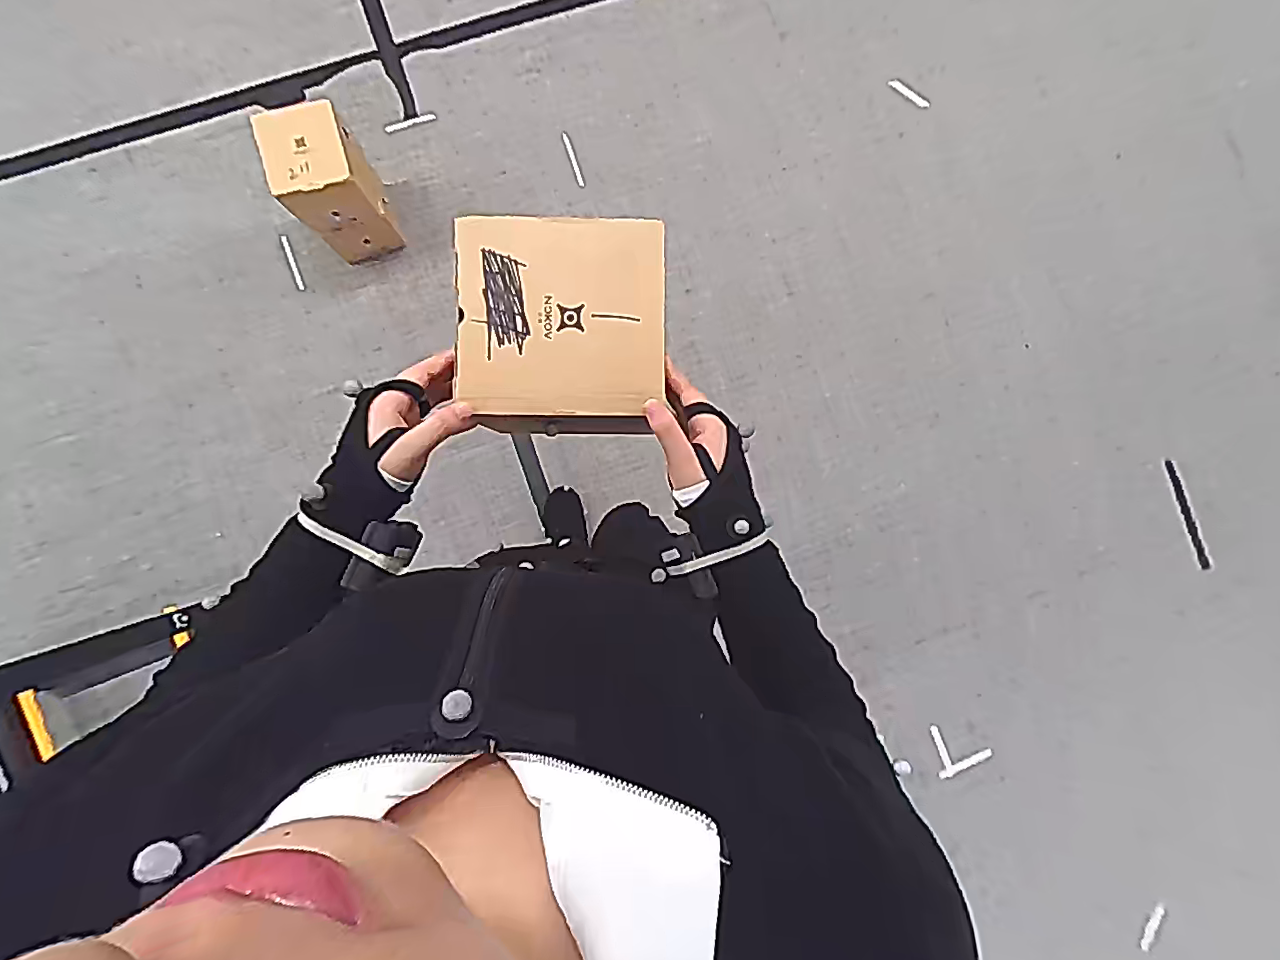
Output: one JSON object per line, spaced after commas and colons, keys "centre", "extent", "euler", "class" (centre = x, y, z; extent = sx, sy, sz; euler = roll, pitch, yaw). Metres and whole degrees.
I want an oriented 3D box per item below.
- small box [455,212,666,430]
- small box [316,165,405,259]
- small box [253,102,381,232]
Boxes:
{"centre": [-0.067, -0.138, 0.527], "extent": [0.179, 0.176, 0.168], "euler": [0, 90, -2], "class": "small box"}
{"centre": [-0.722, -0.682, 1.366], "extent": [0.168, 0.176, 0.179], "euler": [-21, 92, -5], "class": "small box"}
{"centre": [-0.707, -0.686, 1.201], "extent": [0.168, 0.176, 0.179], "euler": [-15, 91, -5], "class": "small box"}
